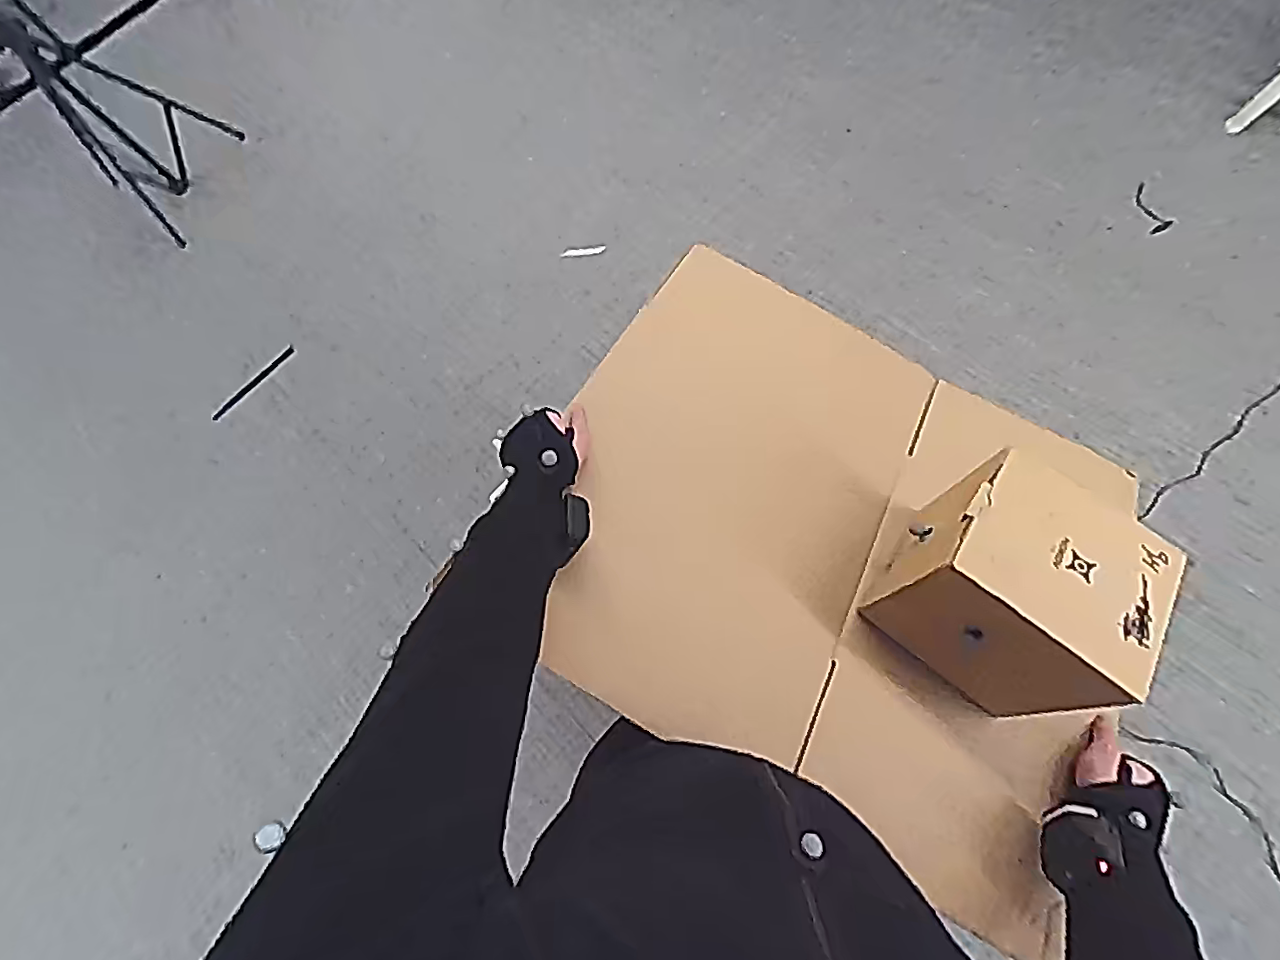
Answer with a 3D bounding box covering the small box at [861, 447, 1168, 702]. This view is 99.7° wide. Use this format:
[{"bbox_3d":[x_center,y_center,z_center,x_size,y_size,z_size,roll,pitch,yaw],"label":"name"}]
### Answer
[{"bbox_3d":[0.365,0.106,0.557,0.179,0.176,0.168,37,65,13],"label":"small box"}]
